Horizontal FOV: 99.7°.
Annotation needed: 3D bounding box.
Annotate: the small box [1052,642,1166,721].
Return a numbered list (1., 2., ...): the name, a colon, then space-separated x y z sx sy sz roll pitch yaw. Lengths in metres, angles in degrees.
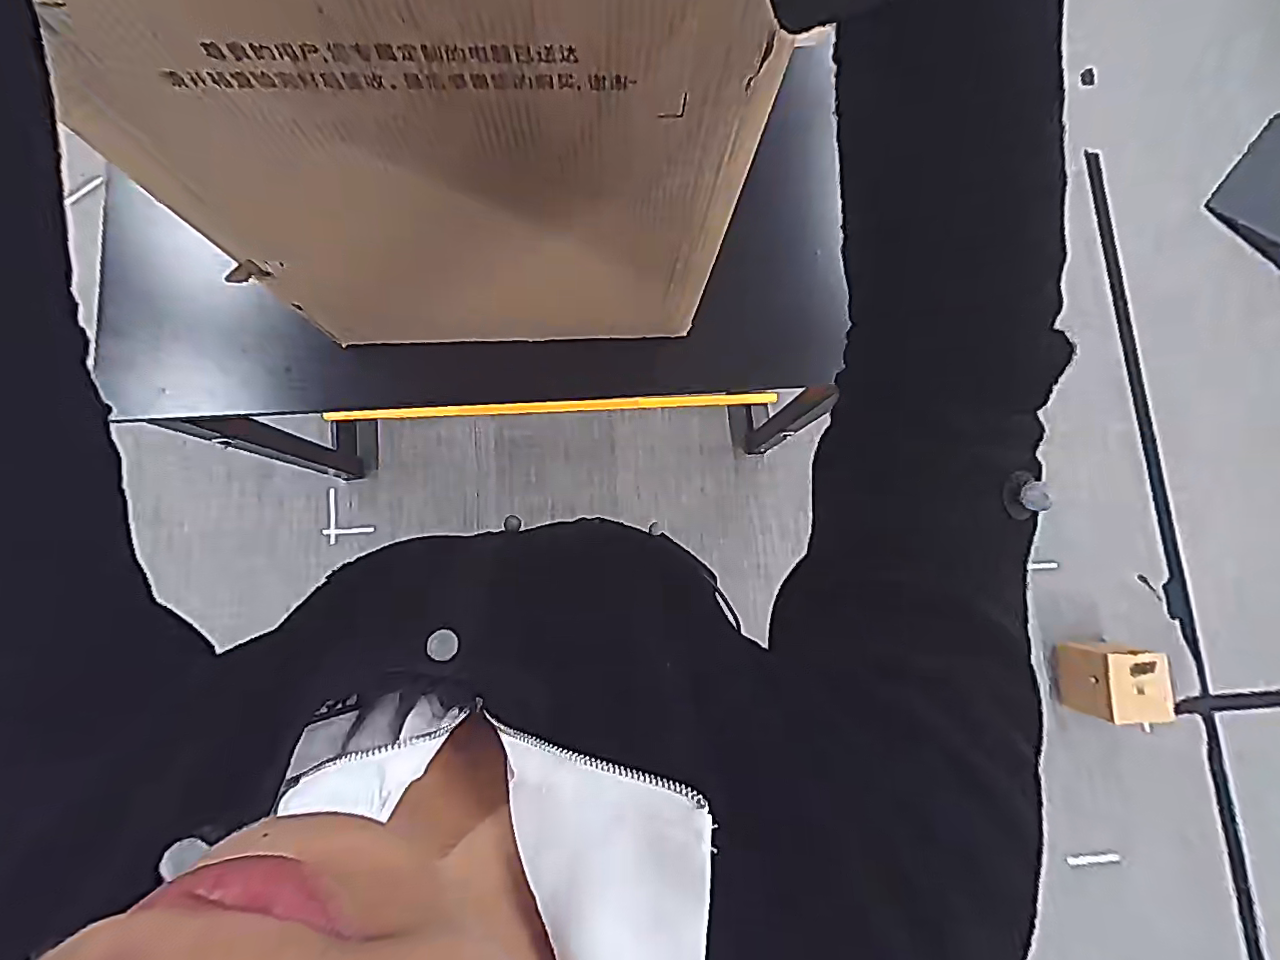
1. small box: 1.273 0.543 1.480 0.168 0.176 0.179 0 83 -4
